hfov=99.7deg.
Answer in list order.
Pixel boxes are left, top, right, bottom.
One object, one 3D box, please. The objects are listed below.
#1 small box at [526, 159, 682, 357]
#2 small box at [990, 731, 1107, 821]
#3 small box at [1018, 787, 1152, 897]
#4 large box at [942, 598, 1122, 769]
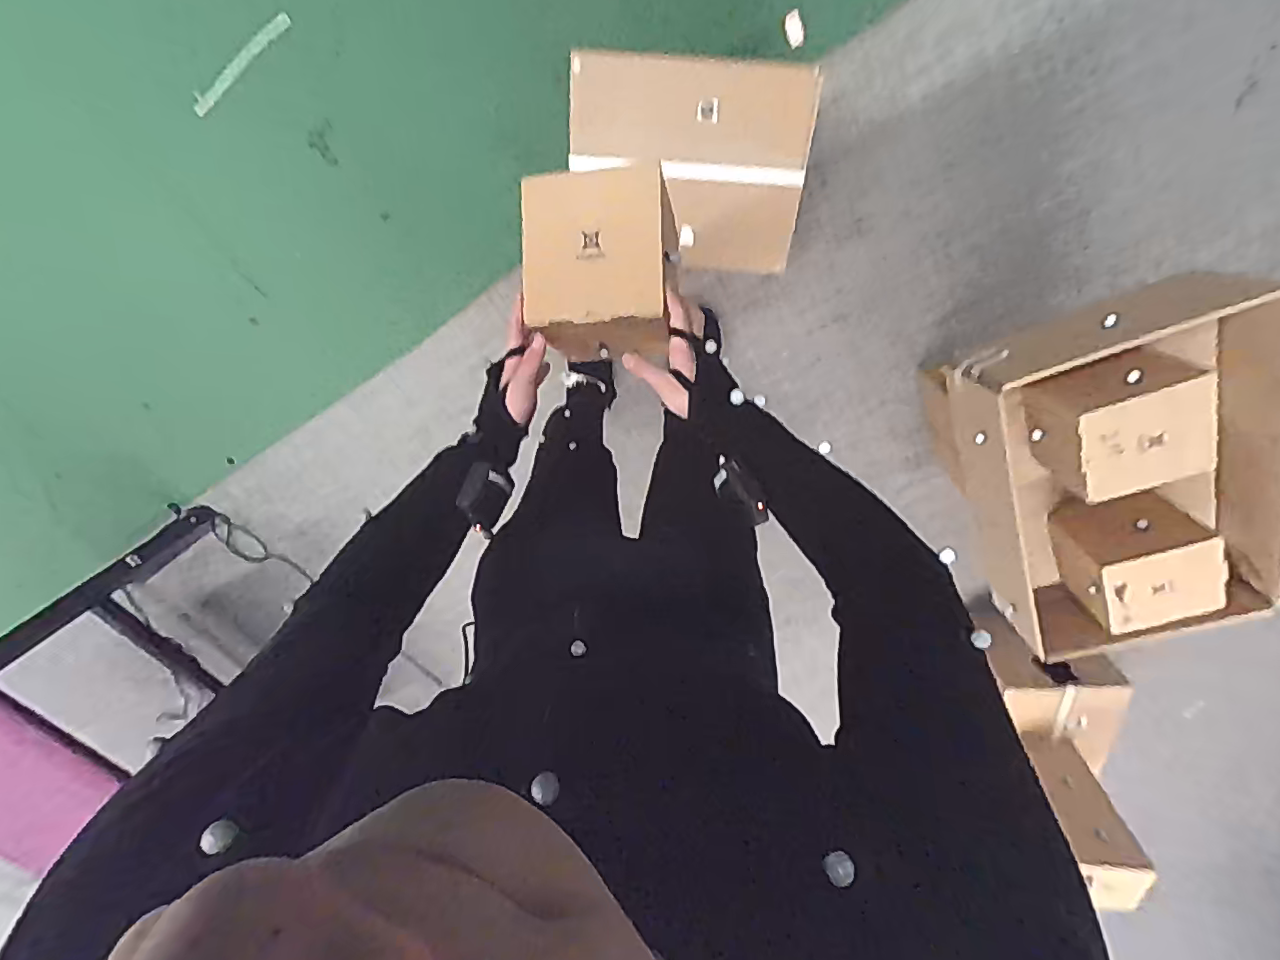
[{"bbox_3d":[-0.037,-0.264,0.682,0.168,0.176,0.179,-2,90,9],"label":"small box"},{"bbox_3d":[1.113,0.819,1.490,0.179,0.176,0.168,1,118,6],"label":"small box"},{"bbox_3d":[1.091,0.894,1.346,0.179,0.176,0.168,1,118,5],"label":"small box"},{"bbox_3d":[1.161,0.620,1.656,0.320,0.320,0.408,-5,117,8],"label":"large box"}]
